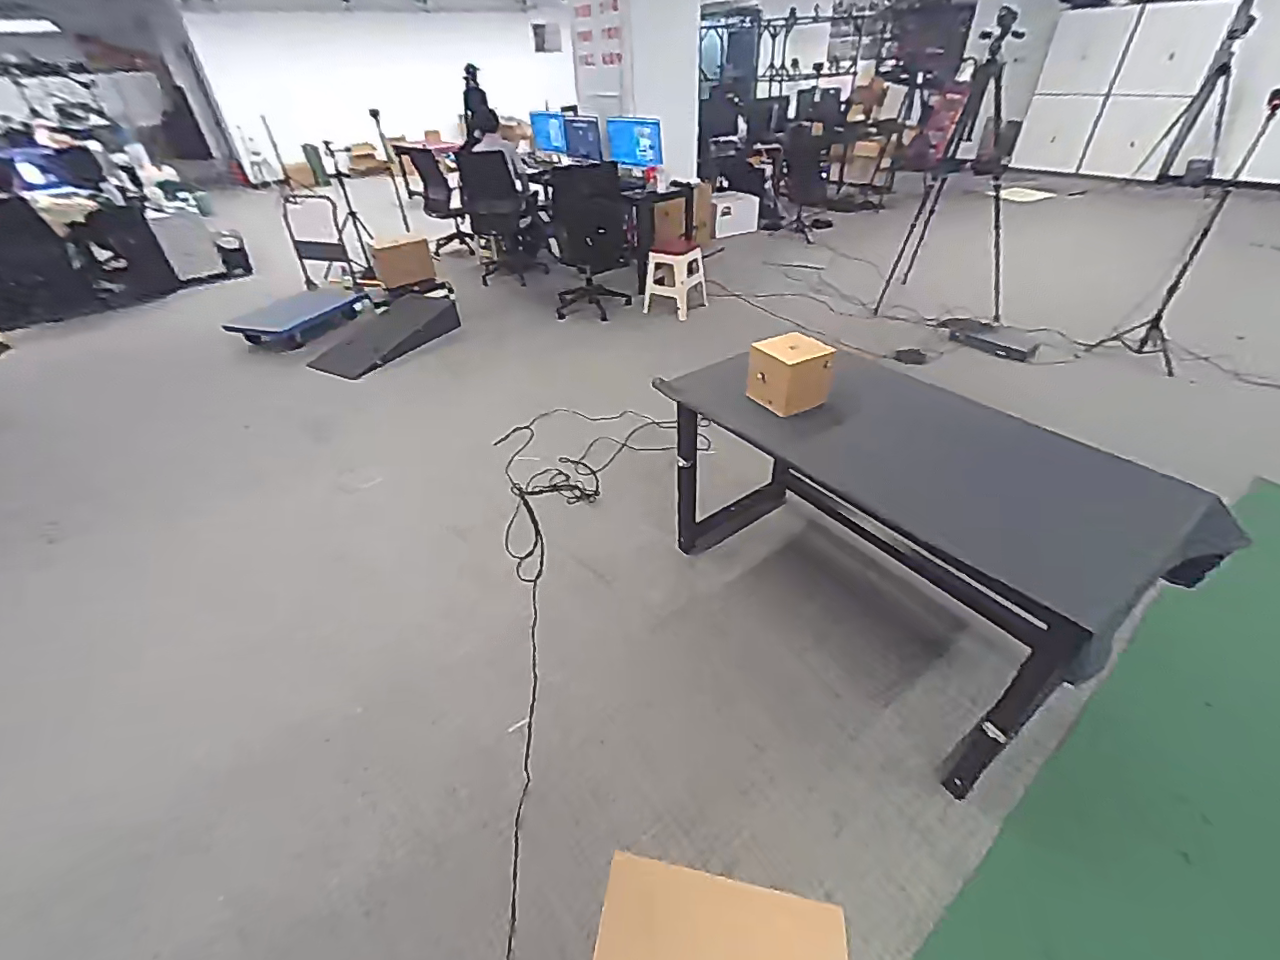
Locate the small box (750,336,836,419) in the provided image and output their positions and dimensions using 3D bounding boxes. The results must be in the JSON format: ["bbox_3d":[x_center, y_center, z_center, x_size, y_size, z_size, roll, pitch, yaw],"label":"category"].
[{"bbox_3d":[0.431,-0.294,1.558,0.179,0.176,0.168,-20,41,-24],"label":"small box"}]
